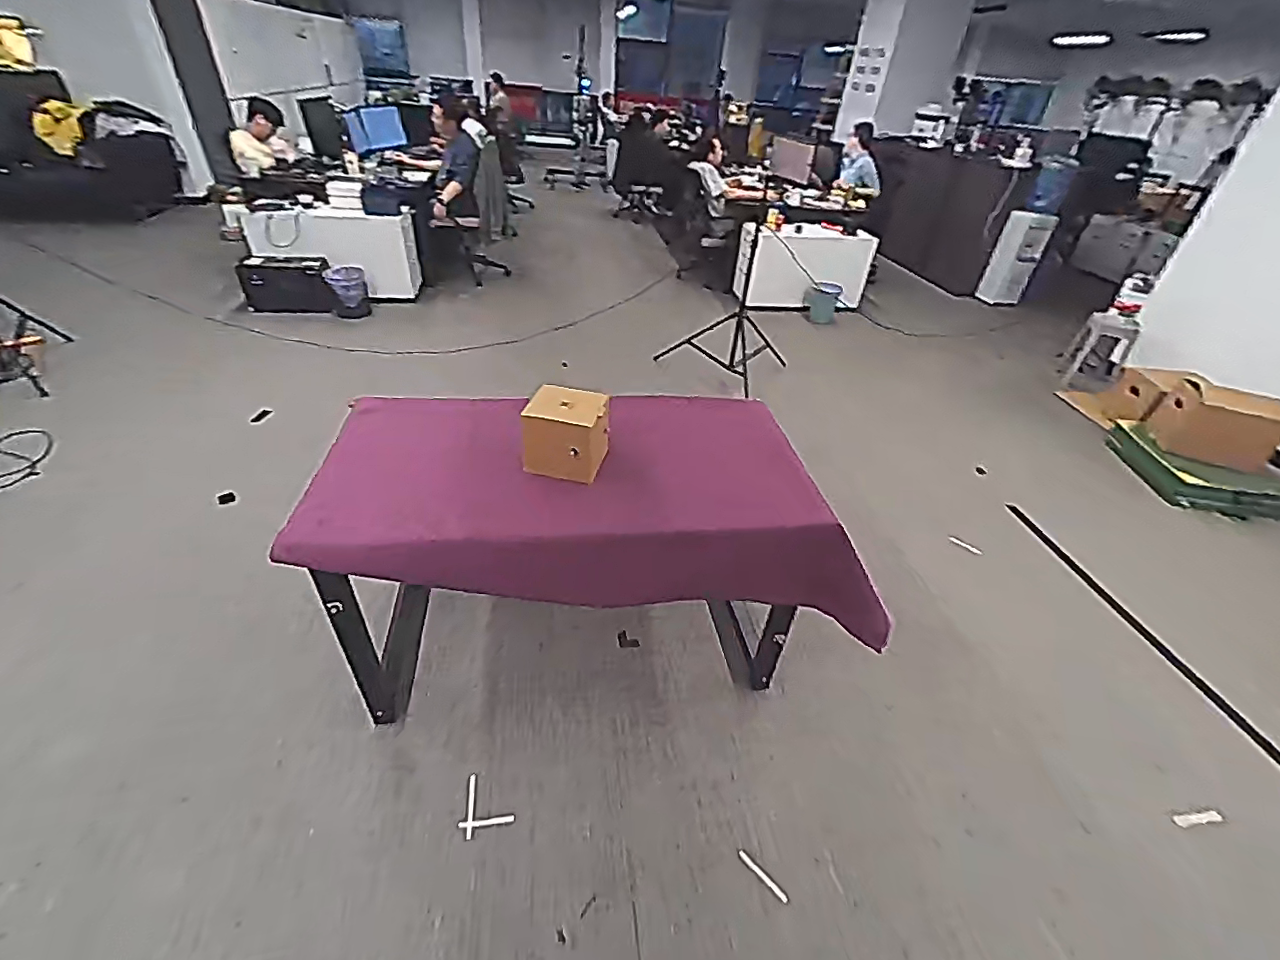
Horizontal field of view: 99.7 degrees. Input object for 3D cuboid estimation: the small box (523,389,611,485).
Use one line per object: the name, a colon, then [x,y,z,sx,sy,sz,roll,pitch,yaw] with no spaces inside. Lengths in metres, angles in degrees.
small box: [-0.177,-0.105,1.352,0.179,0.176,0.168,9,36,7]
